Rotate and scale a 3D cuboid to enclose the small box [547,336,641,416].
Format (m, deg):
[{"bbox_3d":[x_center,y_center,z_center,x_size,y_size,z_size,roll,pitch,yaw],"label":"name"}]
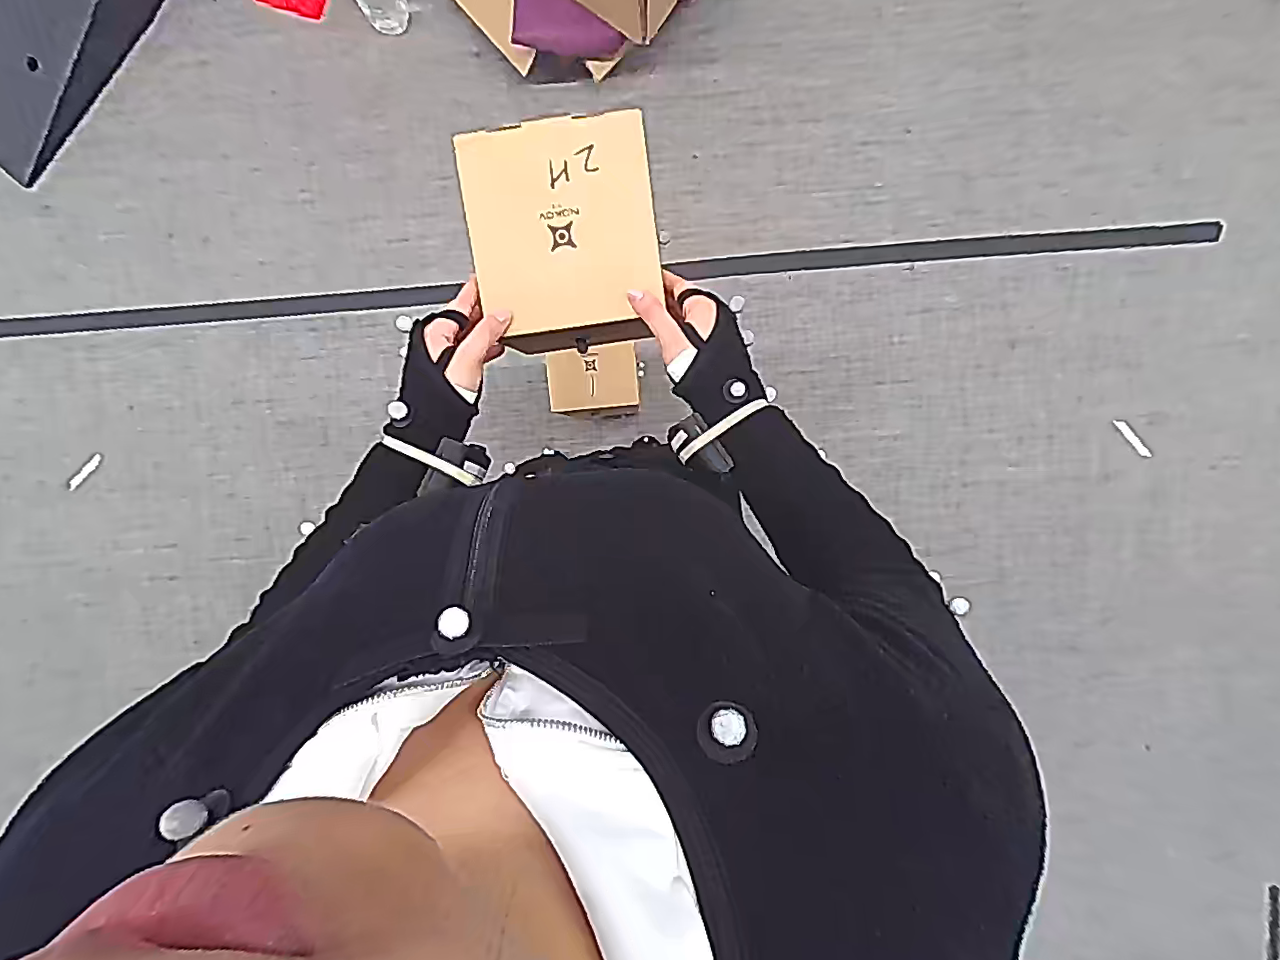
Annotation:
[{"bbox_3d":[-0.086,-0.222,1.062,0.168,0.176,0.179,-5,95,2],"label":"small box"}]

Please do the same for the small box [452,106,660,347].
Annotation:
[{"bbox_3d":[-0.070,-0.236,0.554,0.168,0.176,0.179,-8,97,1],"label":"small box"}]
